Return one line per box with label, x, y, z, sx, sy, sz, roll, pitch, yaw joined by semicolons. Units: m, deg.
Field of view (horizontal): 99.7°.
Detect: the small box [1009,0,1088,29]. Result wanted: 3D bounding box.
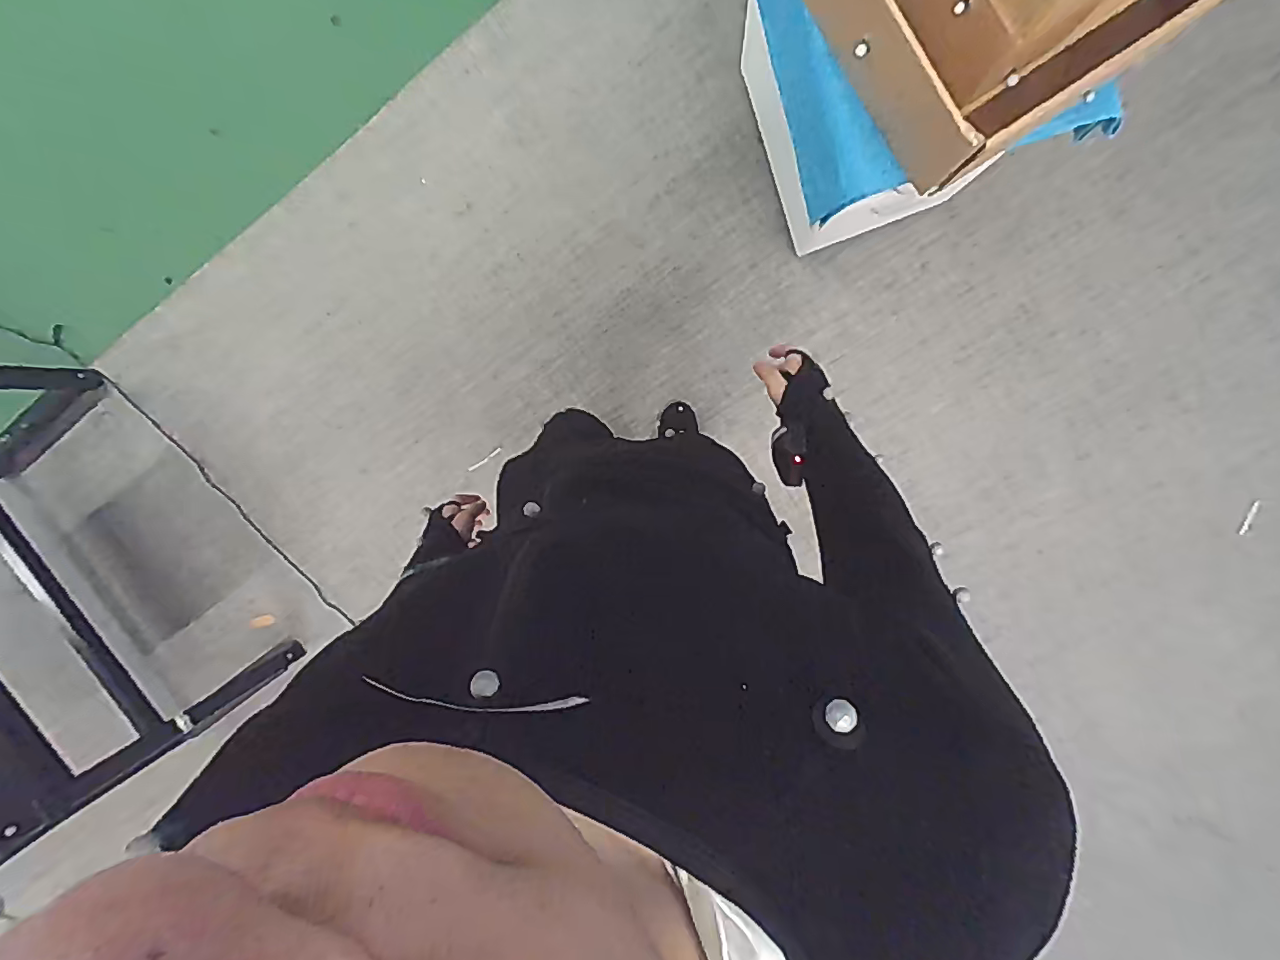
small box;0.488;-0.645;0.565;0.168;0.176;0.179;-33;91;10
